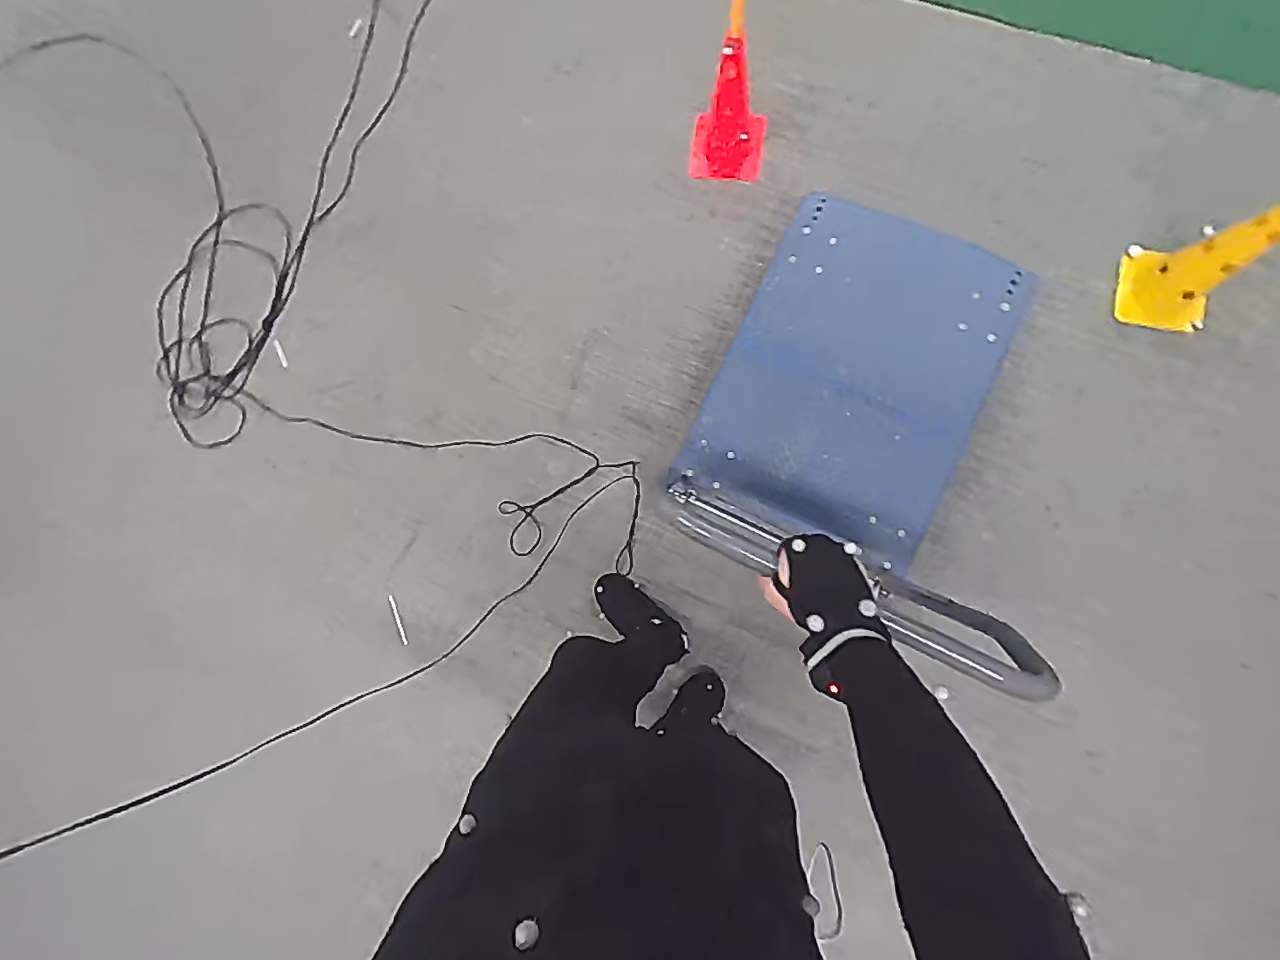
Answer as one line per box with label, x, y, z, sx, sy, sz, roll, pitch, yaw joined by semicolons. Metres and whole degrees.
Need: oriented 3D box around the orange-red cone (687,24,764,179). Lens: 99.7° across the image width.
orange-red cone;0.221;-0.974;1.373;0.199;0.360;0.198;9;84;9
